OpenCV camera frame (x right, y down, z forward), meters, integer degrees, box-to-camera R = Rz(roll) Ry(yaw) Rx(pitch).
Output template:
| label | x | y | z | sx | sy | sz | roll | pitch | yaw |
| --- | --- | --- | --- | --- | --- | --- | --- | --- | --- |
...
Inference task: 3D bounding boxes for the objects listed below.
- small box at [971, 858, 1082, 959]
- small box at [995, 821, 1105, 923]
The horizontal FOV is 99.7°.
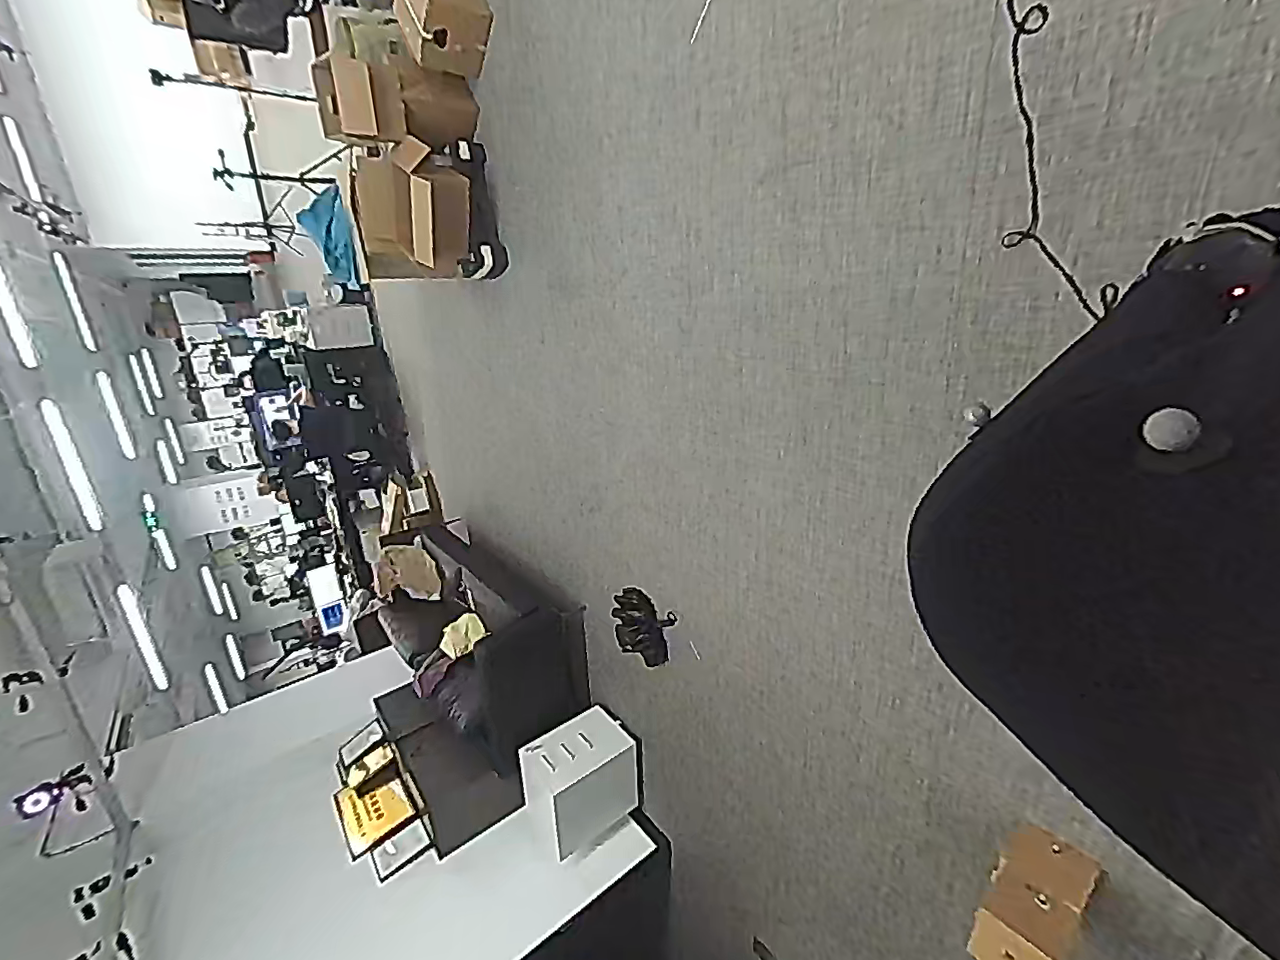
| label | x | y | z | sx | sy | sz | roll | pitch | yaw |
| --- | --- | --- | --- | --- | --- | --- | --- | --- | --- |
| small box | 0.947 | 1.092 | 1.324 | 0.168 | 0.176 | 0.179 | 21 | 119 | 46 |
| small box | 1.070 | 1.040 | 1.419 | 0.179 | 0.176 | 0.168 | 23 | 122 | 48 |
